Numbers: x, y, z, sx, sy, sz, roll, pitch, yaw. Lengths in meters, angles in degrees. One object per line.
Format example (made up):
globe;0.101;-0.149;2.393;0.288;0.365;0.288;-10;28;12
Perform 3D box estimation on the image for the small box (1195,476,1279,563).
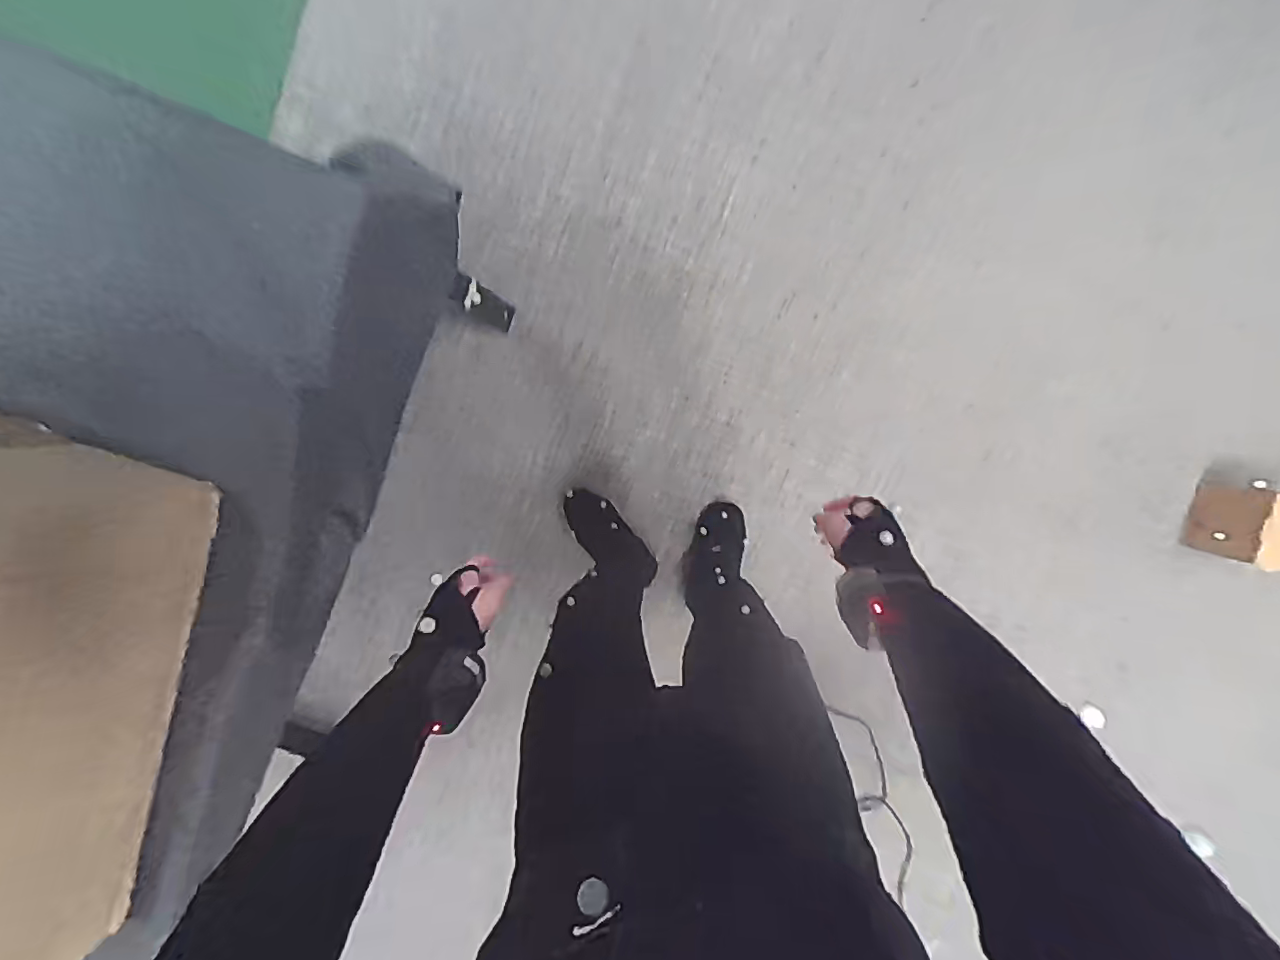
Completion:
small box;1.414;0.090;1.203;0.179;0.176;0.168;6;100;-2
